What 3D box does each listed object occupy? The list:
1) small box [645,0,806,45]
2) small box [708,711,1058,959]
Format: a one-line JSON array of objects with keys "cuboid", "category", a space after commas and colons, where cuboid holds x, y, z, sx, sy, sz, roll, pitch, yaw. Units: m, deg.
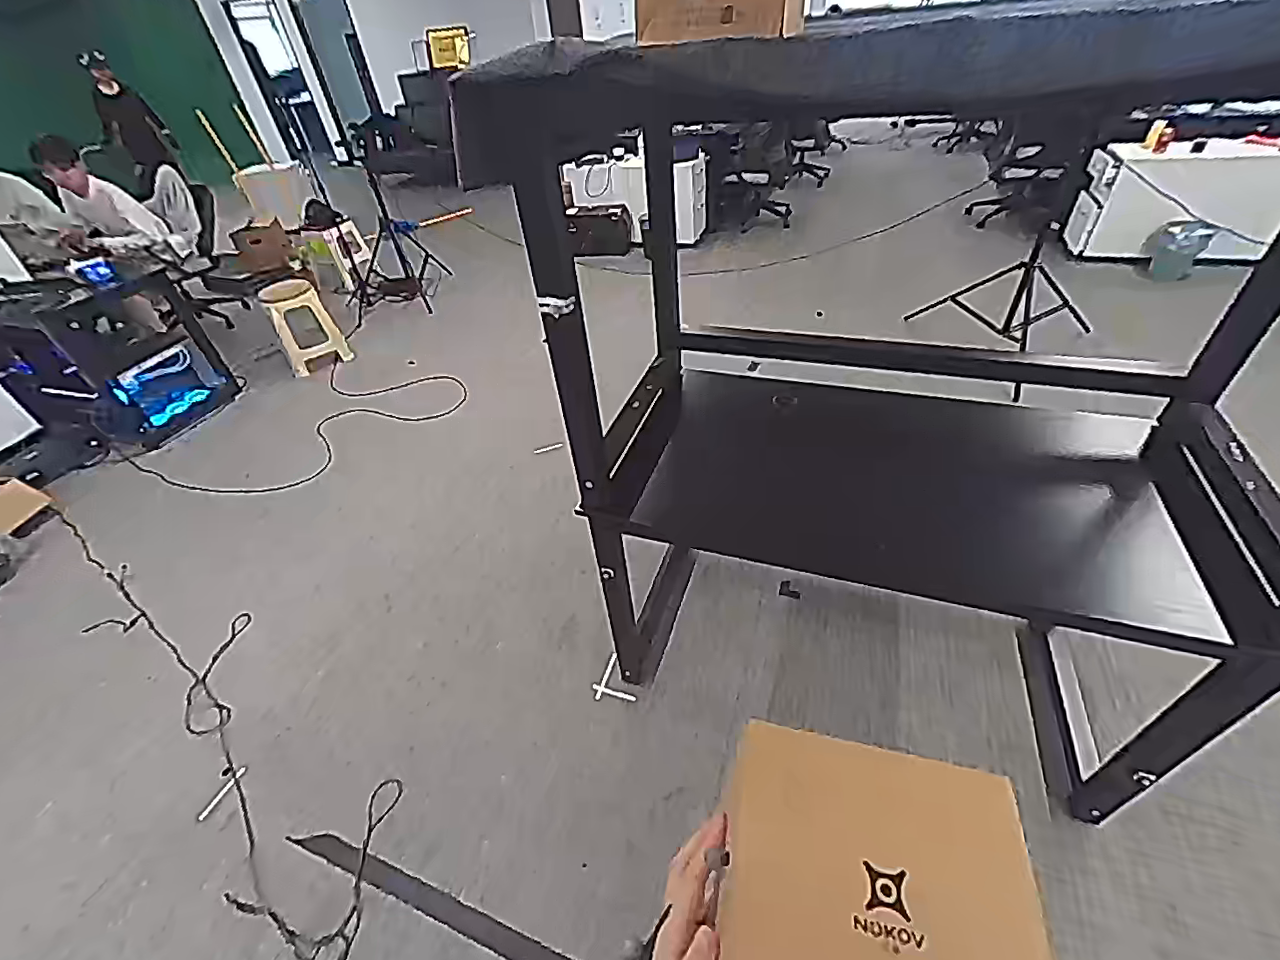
[{"cuboid": [0.101, -0.595, 0.600, 0.168, 0.176, 0.179, 10, 42, 17], "category": "small box"}, {"cuboid": [0.135, 0.285, 0.350, 0.168, 0.176, 0.179, 9, 46, 10], "category": "small box"}]
